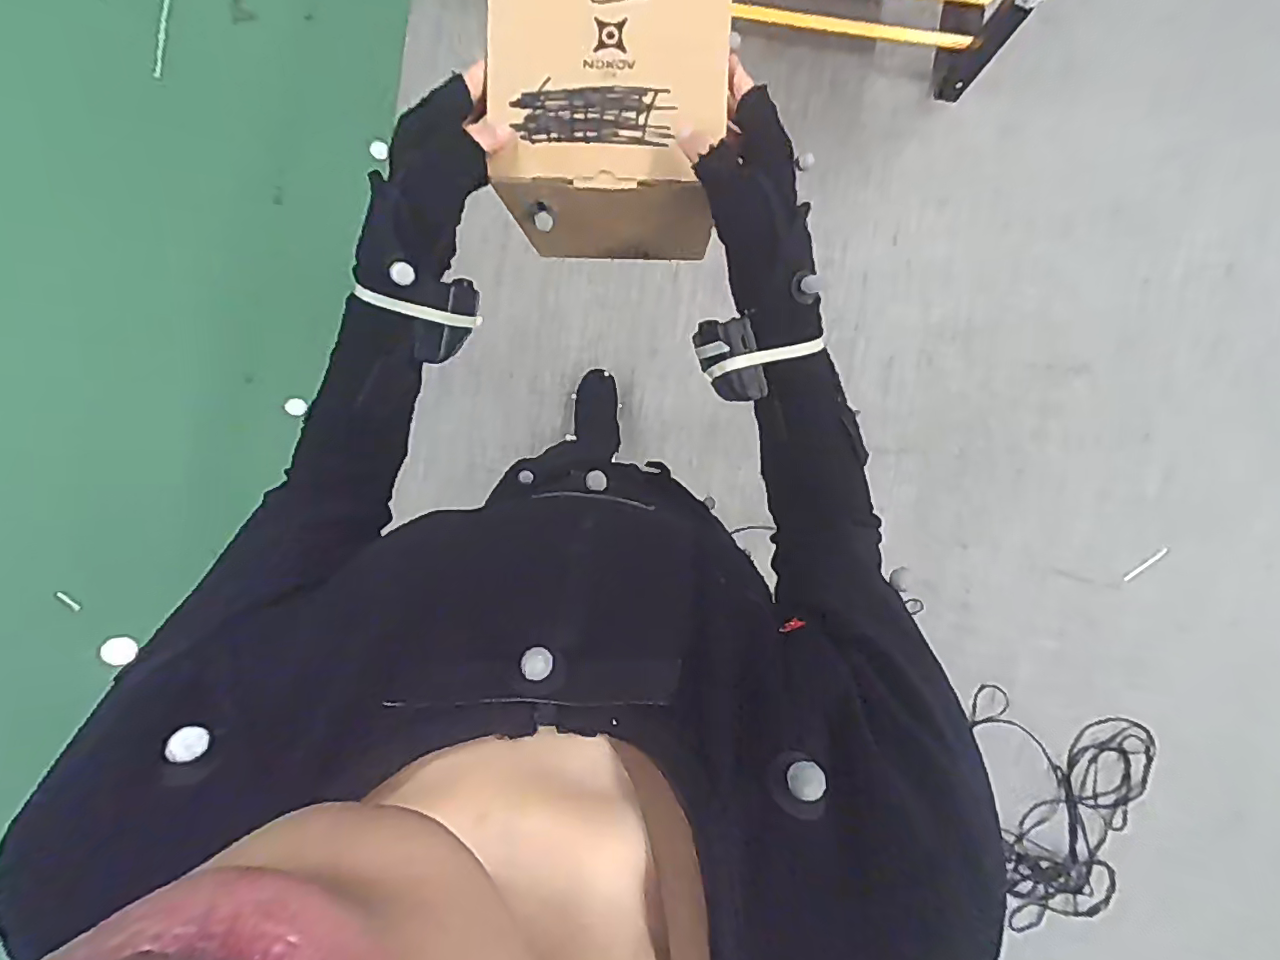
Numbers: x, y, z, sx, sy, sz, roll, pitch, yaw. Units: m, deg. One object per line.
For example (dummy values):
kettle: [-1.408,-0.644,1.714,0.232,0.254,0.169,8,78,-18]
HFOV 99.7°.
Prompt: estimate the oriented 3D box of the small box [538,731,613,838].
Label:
small box: [-0.162,0.786,1.408,0.168,0.176,0.179,6,89,-1]
